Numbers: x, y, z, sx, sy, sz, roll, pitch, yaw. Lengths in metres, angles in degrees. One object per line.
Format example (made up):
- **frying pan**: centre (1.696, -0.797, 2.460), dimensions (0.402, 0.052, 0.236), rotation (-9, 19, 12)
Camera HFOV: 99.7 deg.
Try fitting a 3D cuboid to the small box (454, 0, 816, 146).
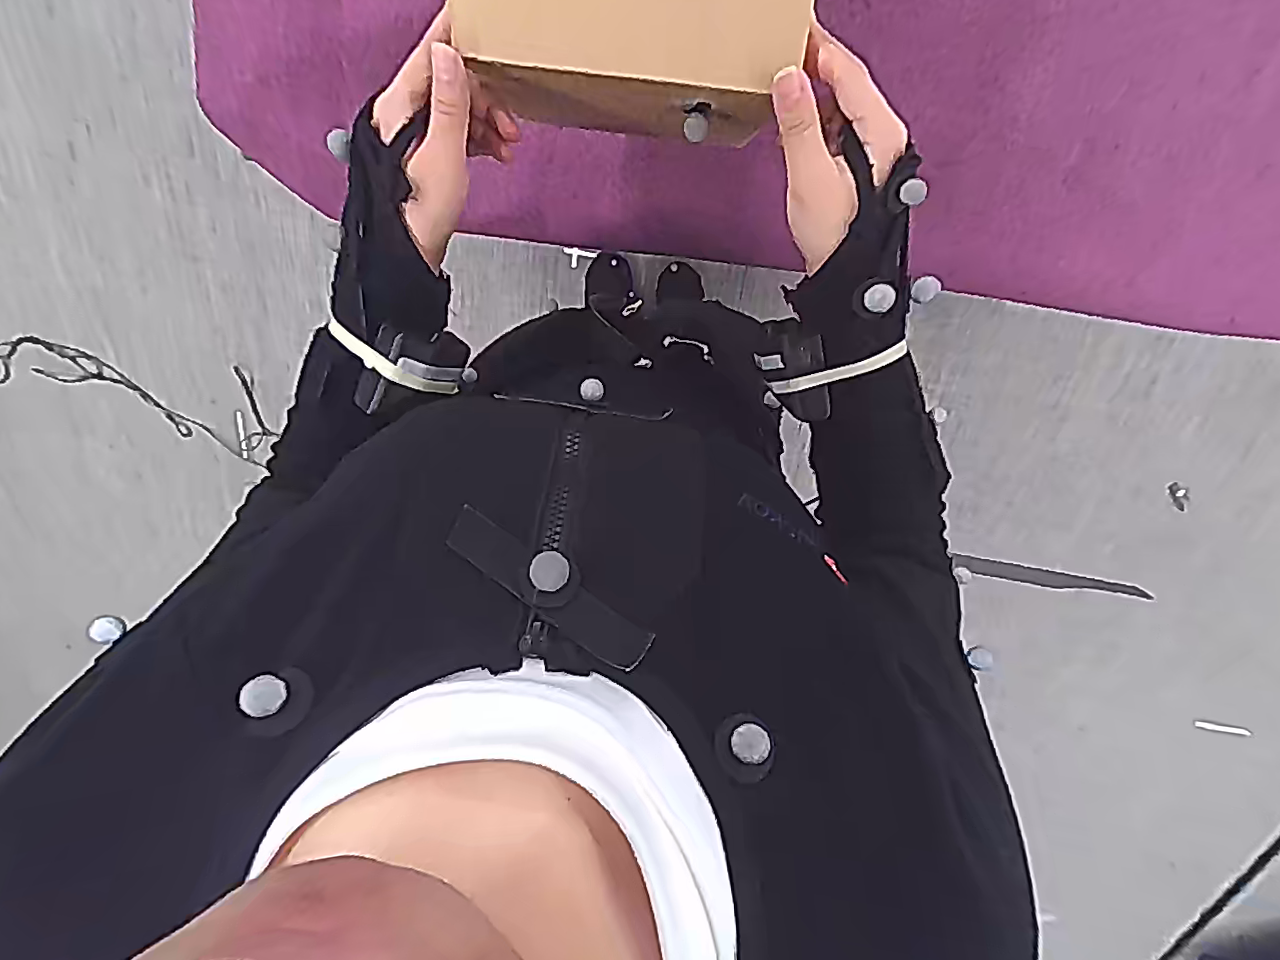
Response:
- **small box**: centre (0.003, -0.309, 0.314), dimensions (0.179, 0.176, 0.168), rotation (6, 112, -3)
